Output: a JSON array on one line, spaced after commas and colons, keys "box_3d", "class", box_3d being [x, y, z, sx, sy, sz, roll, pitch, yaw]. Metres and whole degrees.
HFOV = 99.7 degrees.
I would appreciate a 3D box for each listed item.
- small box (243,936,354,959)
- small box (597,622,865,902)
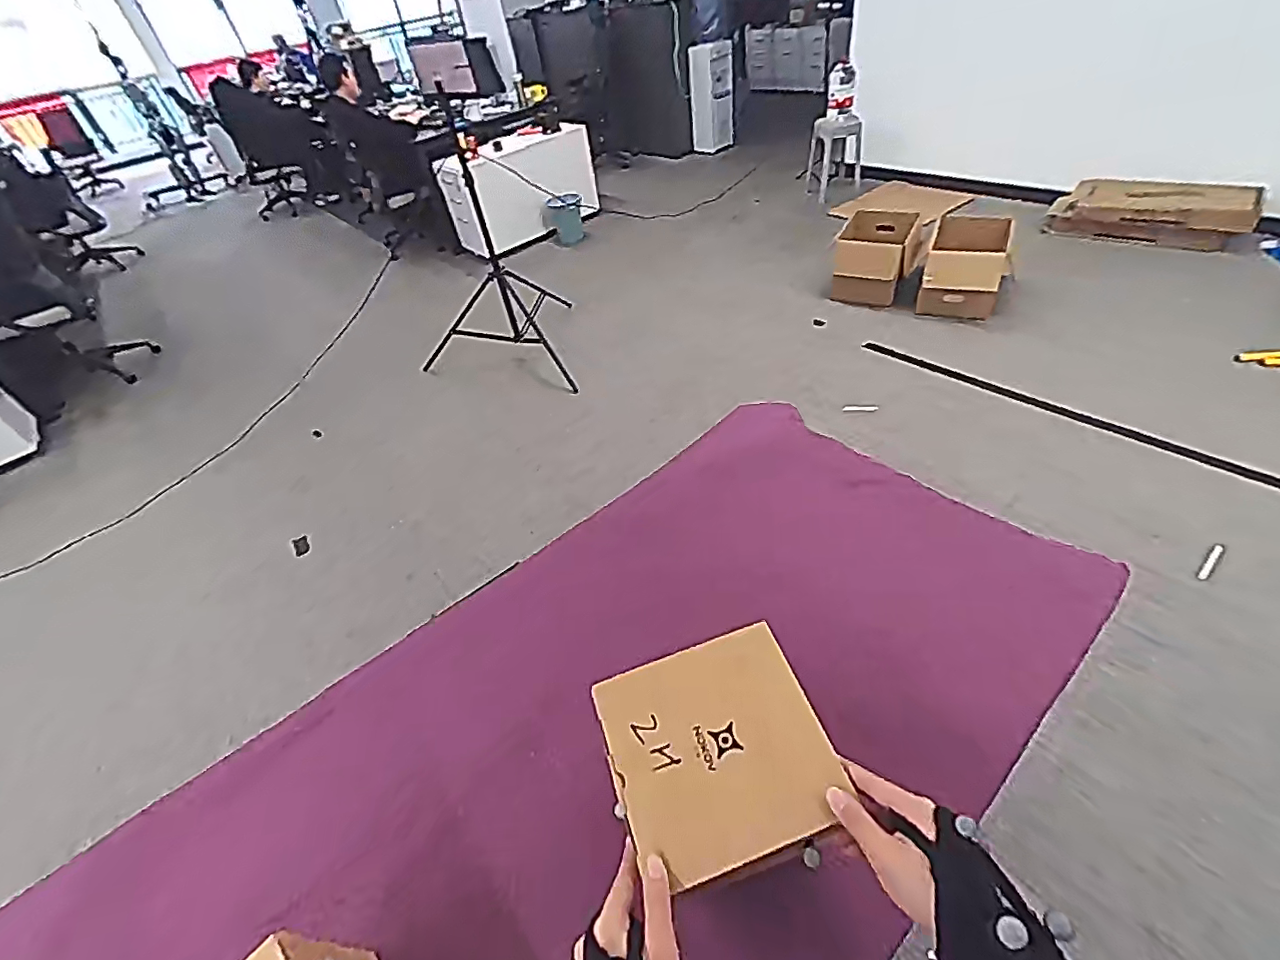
[{"box_3d": [-0.270, 0.495, 0.399, 0.179, 0.176, 0.168, 28, 56, 34], "class": "small box"}, {"box_3d": [0.074, 0.265, 0.506, 0.179, 0.176, 0.168, -18, 50, -6], "class": "small box"}]
